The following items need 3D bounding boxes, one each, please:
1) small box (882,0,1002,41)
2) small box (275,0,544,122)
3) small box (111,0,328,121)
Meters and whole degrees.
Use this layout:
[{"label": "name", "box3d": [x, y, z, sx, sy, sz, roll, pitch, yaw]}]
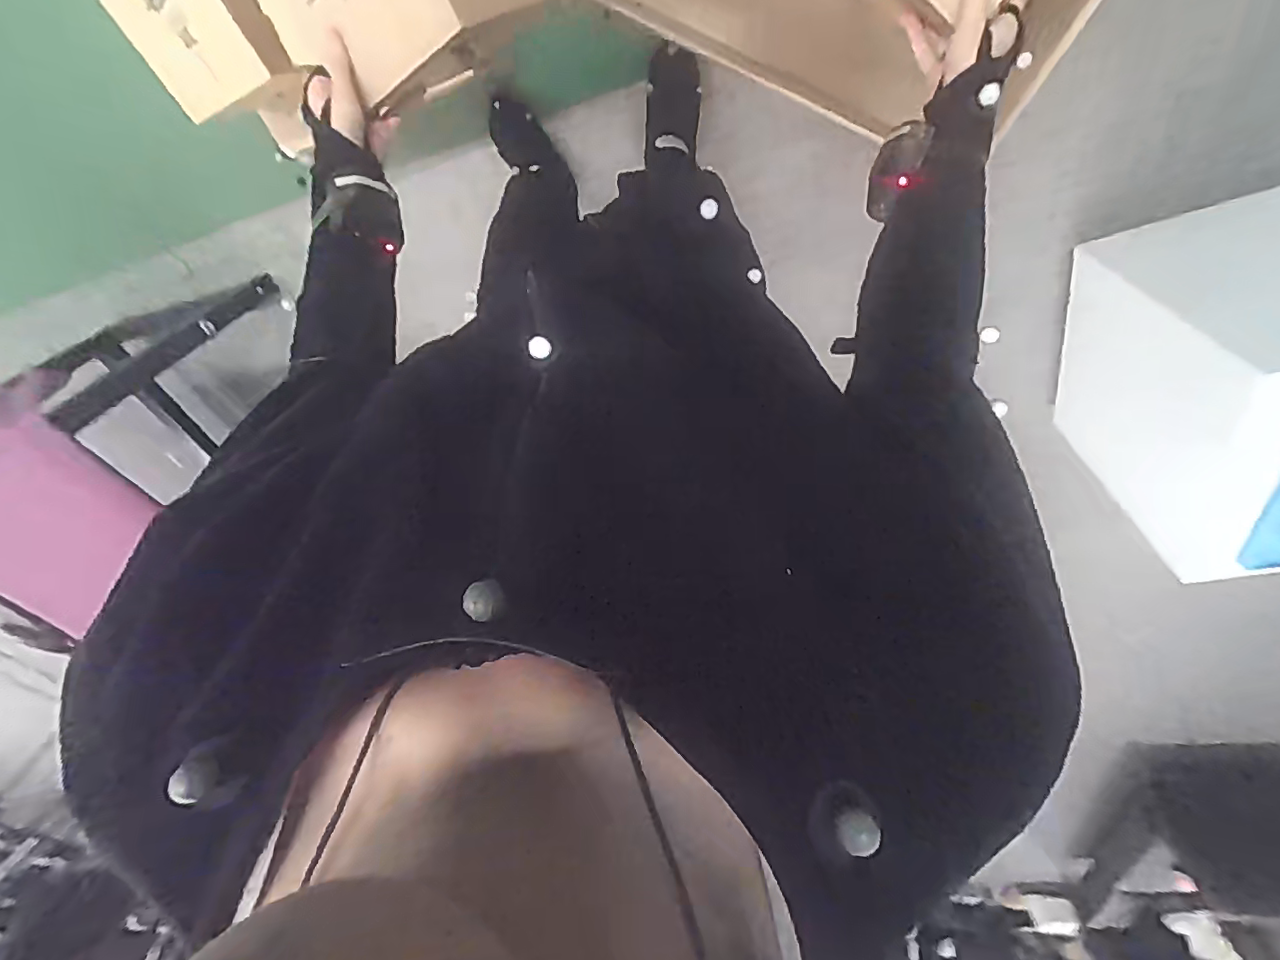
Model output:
[{"label": "small box", "box3d": [0.261, -0.518, 0.452, 0.179, 0.176, 0.168, 28, 129, -16]}, {"label": "small box", "box3d": [-0.210, -0.466, 0.482, 0.179, 0.176, 0.168, -2, 133, 38]}, {"label": "small box", "box3d": [-0.607, -0.668, 0.800, 0.168, 0.176, 0.179, -12, 128, 18]}]
